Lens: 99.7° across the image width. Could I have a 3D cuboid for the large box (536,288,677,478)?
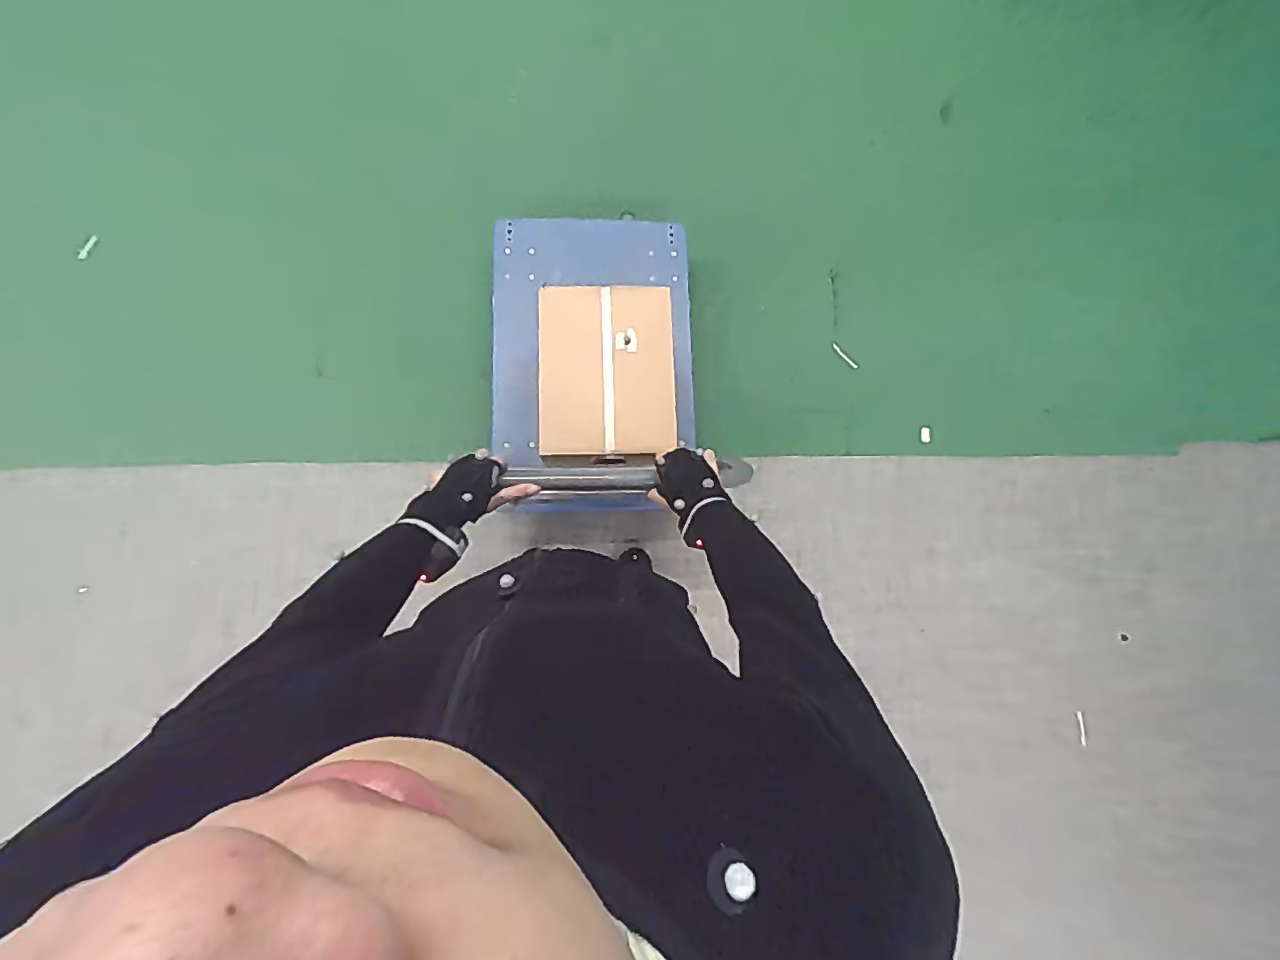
[{"bbox_3d":[-0.090,-0.230,1.388,0.320,0.320,0.408,-2,81,-6],"label":"large box"}]
